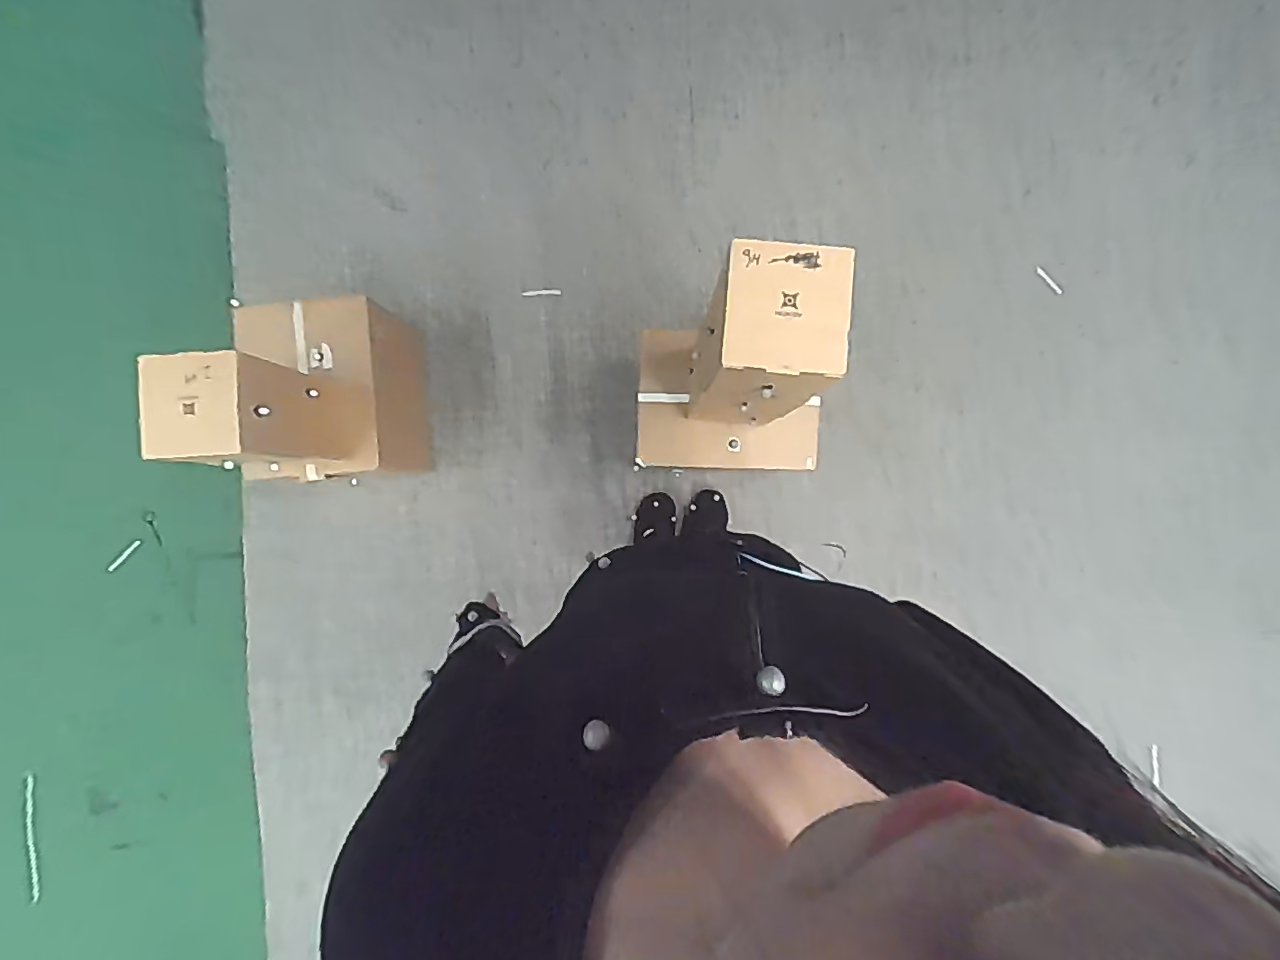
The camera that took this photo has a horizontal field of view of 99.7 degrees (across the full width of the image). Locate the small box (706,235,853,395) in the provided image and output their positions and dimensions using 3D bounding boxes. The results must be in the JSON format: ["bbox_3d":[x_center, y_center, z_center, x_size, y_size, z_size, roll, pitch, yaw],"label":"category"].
[{"bbox_3d":[0.192,-0.227,0.791,0.168,0.176,0.179,6,88,0],"label":"small box"}]

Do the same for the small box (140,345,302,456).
[{"bbox_3d":[-0.734,-0.132,0.964,0.168,0.176,0.179,-2,89,0],"label":"small box"}]

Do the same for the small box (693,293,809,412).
[{"bbox_3d":[0.196,-0.218,0.955,0.179,0.176,0.168,7,87,1],"label":"small box"}]

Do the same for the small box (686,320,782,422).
[{"bbox_3d":[0.195,-0.217,1.119,0.179,0.176,0.168,6,88,1],"label":"small box"}]

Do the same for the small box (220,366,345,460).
[{"bbox_3d":[-0.741,-0.133,1.130,0.168,0.176,0.179,-2,89,1],"label":"small box"}]

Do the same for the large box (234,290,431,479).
[{"bbox_3d":[-0.755,-0.217,1.374,0.320,0.320,0.408,-4,89,1],"label":"large box"}]
